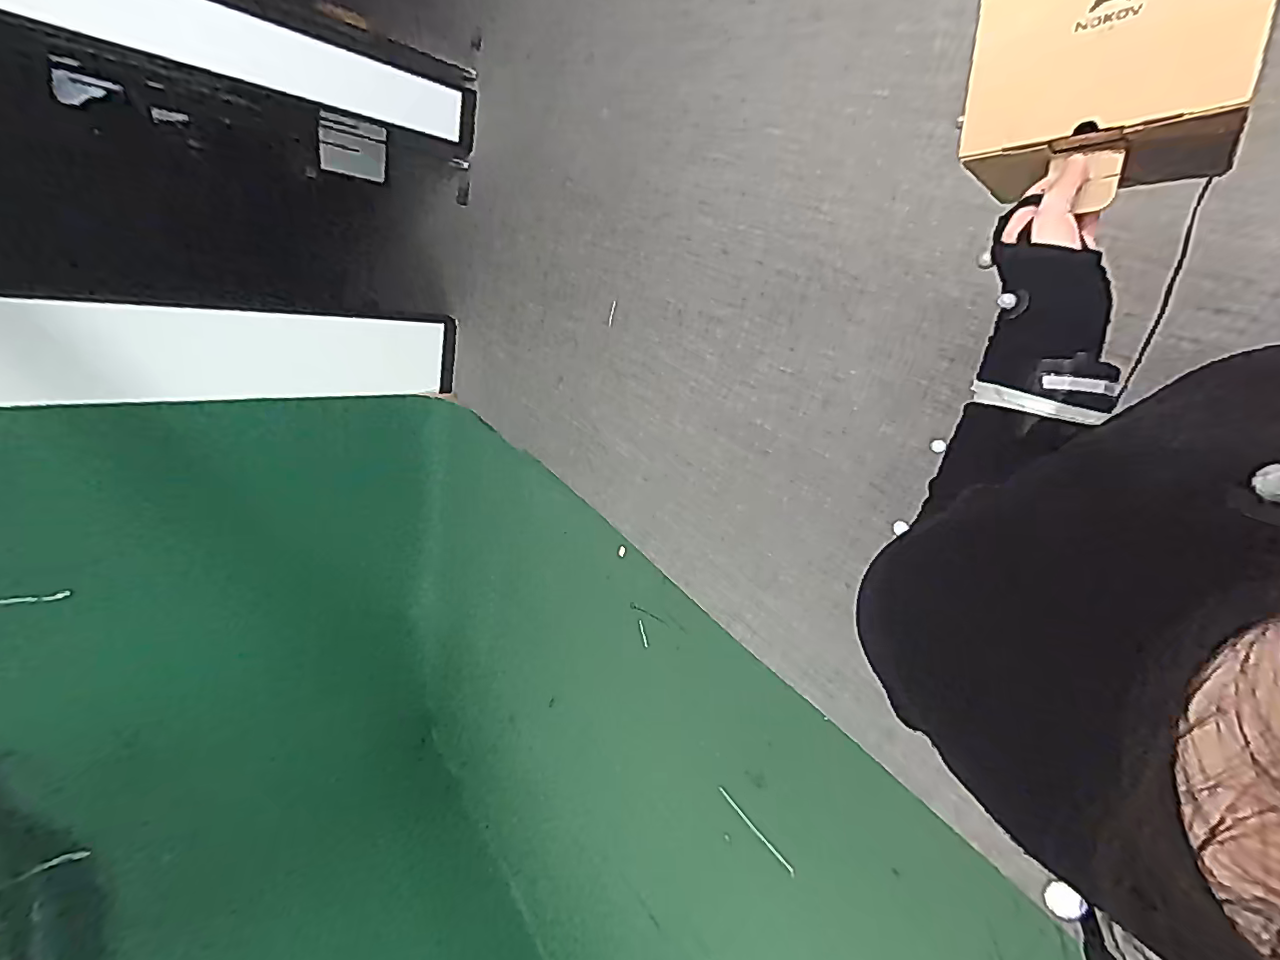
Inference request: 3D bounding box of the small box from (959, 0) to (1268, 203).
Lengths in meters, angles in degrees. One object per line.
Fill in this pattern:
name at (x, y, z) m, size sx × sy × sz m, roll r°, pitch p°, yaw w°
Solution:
small box at (0.385, -0.348, 0.440) m, size 0.168 × 0.176 × 0.179 m, roll 14°, pitch 109°, yaw 41°
